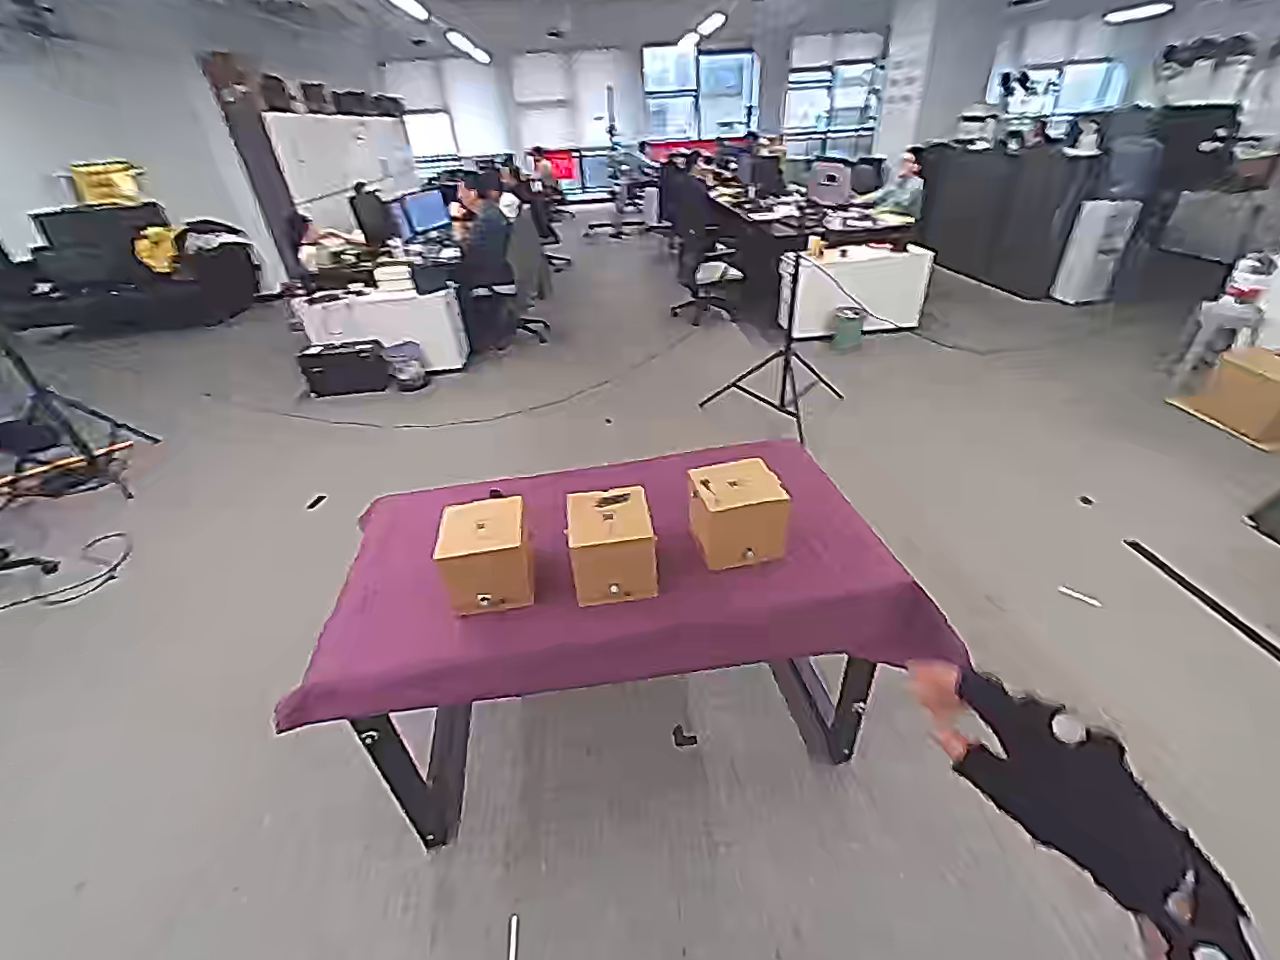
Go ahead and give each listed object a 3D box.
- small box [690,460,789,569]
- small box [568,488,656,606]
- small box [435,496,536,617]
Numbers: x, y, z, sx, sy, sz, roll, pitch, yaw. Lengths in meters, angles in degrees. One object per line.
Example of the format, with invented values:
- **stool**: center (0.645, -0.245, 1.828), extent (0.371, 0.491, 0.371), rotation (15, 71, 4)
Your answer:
- **small box**: center (0.213, 0.076, 1.212), extent (0.179, 0.176, 0.168), rotation (-9, 33, -8)
- **small box**: center (-0.061, 0.139, 1.146), extent (0.168, 0.176, 0.179), rotation (-7, 34, -4)
- **small box**: center (-0.318, 0.161, 1.146), extent (0.168, 0.176, 0.179), rotation (-9, 35, -6)
